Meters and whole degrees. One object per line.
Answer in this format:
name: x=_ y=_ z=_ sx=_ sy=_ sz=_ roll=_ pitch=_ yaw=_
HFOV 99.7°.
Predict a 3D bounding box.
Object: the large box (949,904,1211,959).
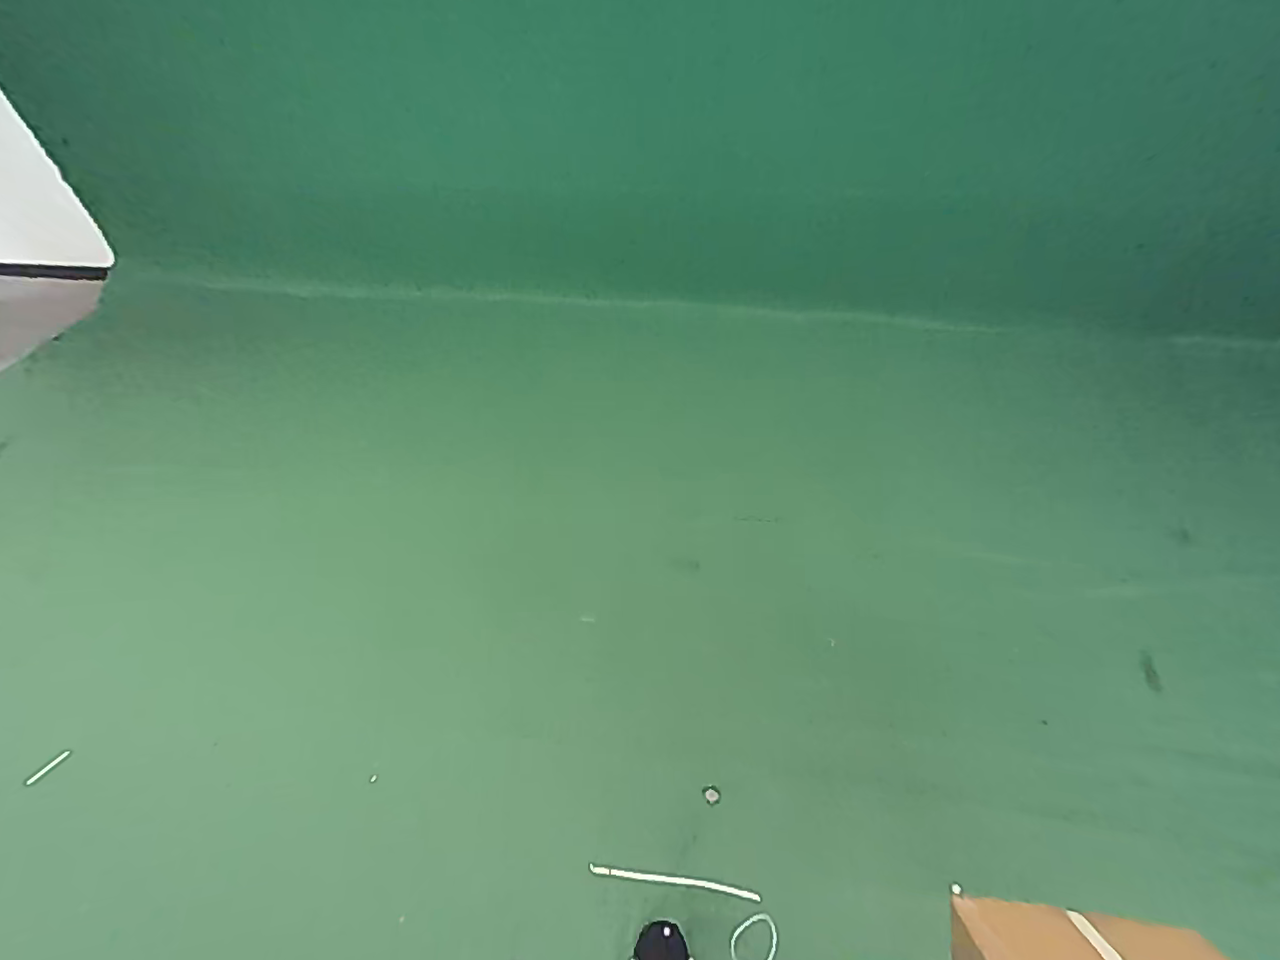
large box: x=0.565 y=0.755 z=0.560 sx=0.320 sy=0.408 sz=0.320 roll=3 pitch=85 yaw=10
